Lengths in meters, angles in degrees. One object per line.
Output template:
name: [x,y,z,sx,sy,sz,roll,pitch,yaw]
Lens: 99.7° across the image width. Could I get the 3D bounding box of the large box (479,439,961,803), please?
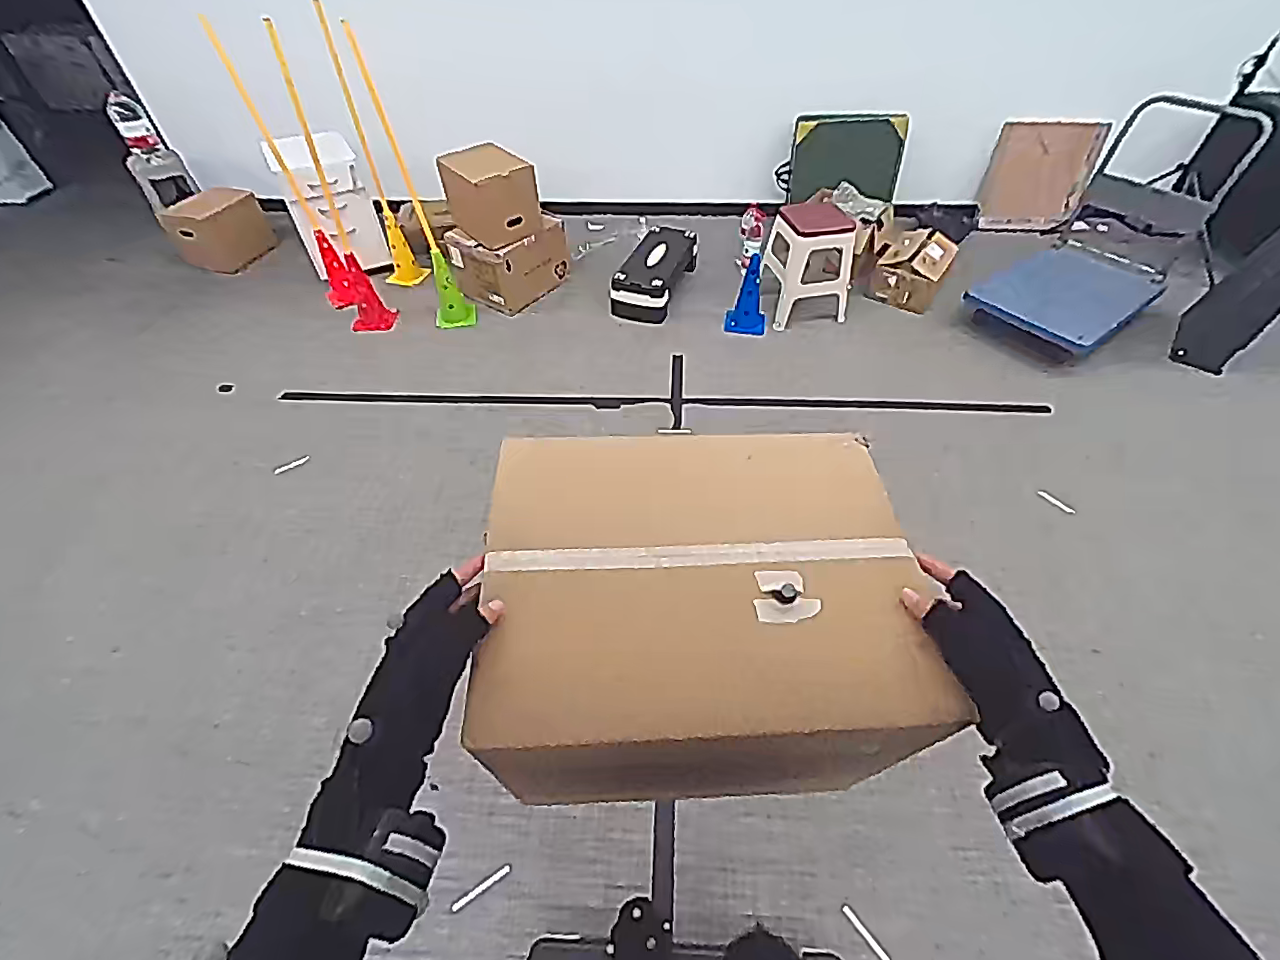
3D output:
large box: [0.053,0.169,0.638,0.408,0.320,0.320,-1,53,-4]
